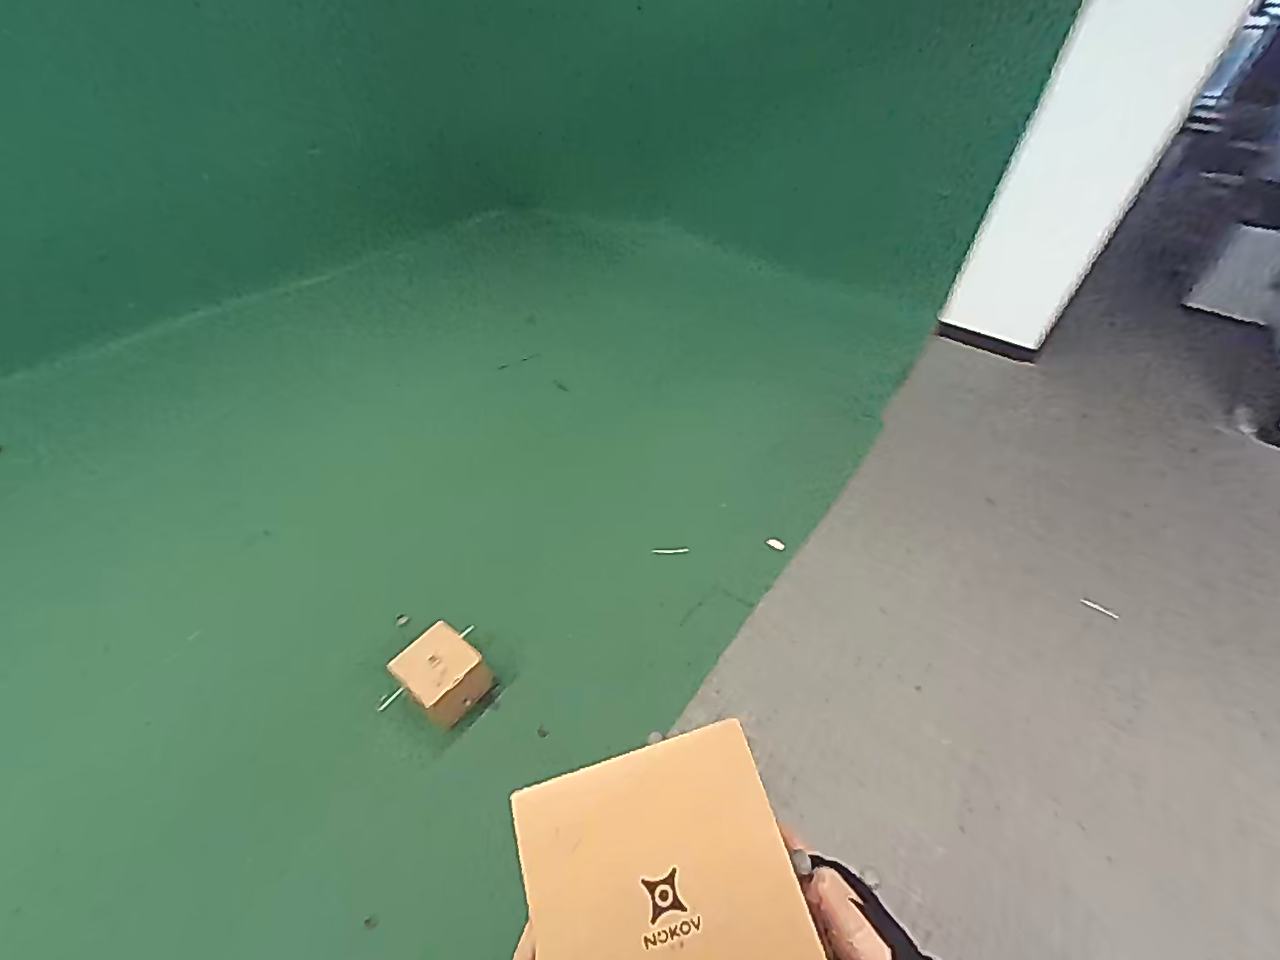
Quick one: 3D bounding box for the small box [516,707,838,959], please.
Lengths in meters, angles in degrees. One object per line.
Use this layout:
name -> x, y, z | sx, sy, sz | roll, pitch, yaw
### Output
small box -> 0.021, 0.290, 0.391 | 0.168, 0.176, 0.179 | -16, 60, -7

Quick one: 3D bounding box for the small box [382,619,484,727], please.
small box -> -0.535, 0.508, 1.416 | 0.179, 0.176, 0.168 | 31, 51, 24
